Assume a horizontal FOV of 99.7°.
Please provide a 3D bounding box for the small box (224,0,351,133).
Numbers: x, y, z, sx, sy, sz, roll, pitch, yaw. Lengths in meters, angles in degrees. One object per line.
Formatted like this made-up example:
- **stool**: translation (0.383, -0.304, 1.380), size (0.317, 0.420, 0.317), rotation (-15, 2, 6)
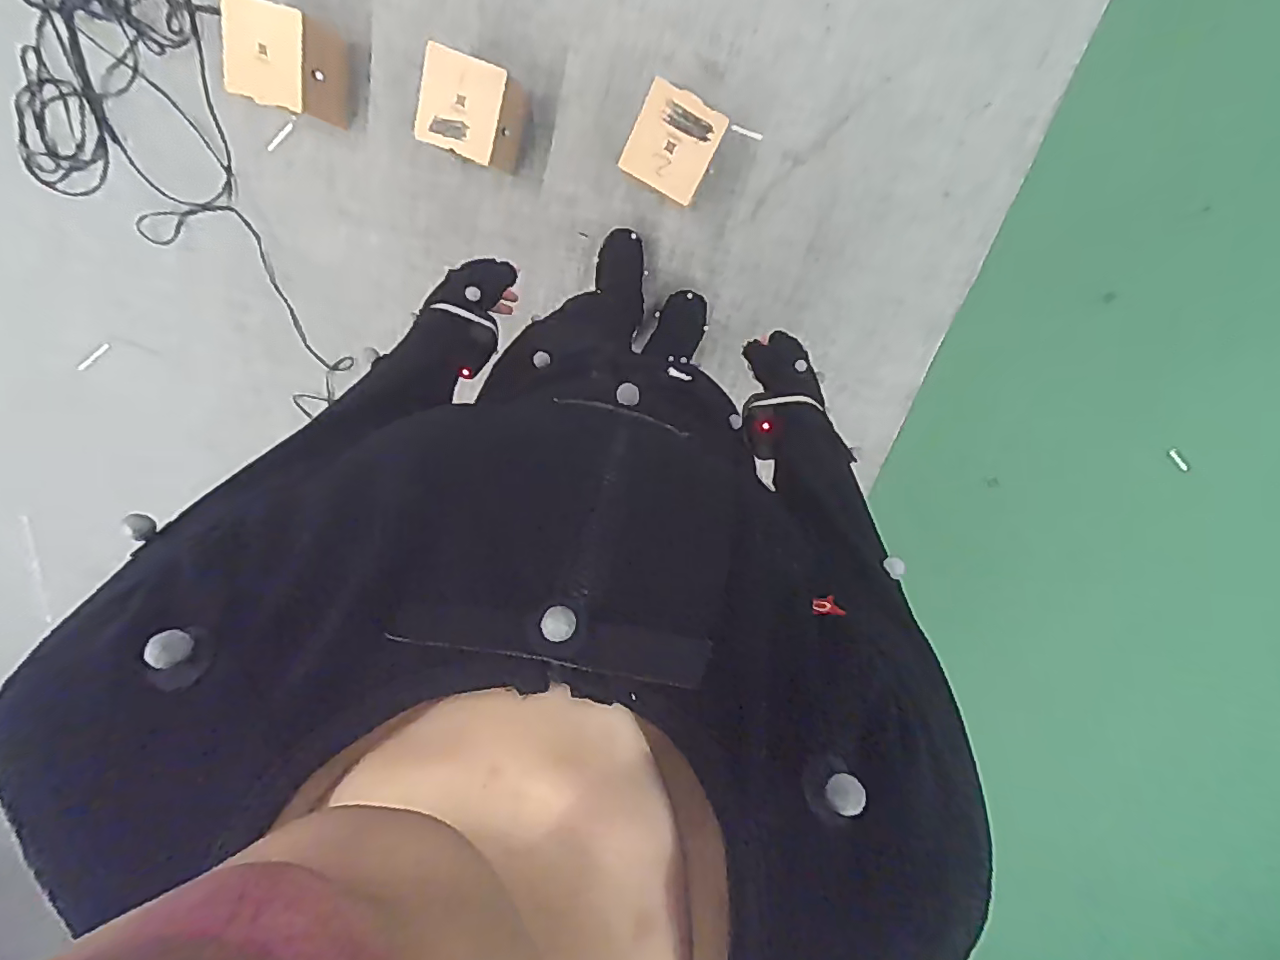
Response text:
- **small box**: translation (-0.746, -0.877, 1.158), size (0.168, 0.176, 0.179), rotation (15, 114, 0)

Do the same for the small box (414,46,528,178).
- **small box**: translation (-0.356, -0.774, 1.160), size (0.168, 0.176, 0.179), rotation (20, 112, -2)
